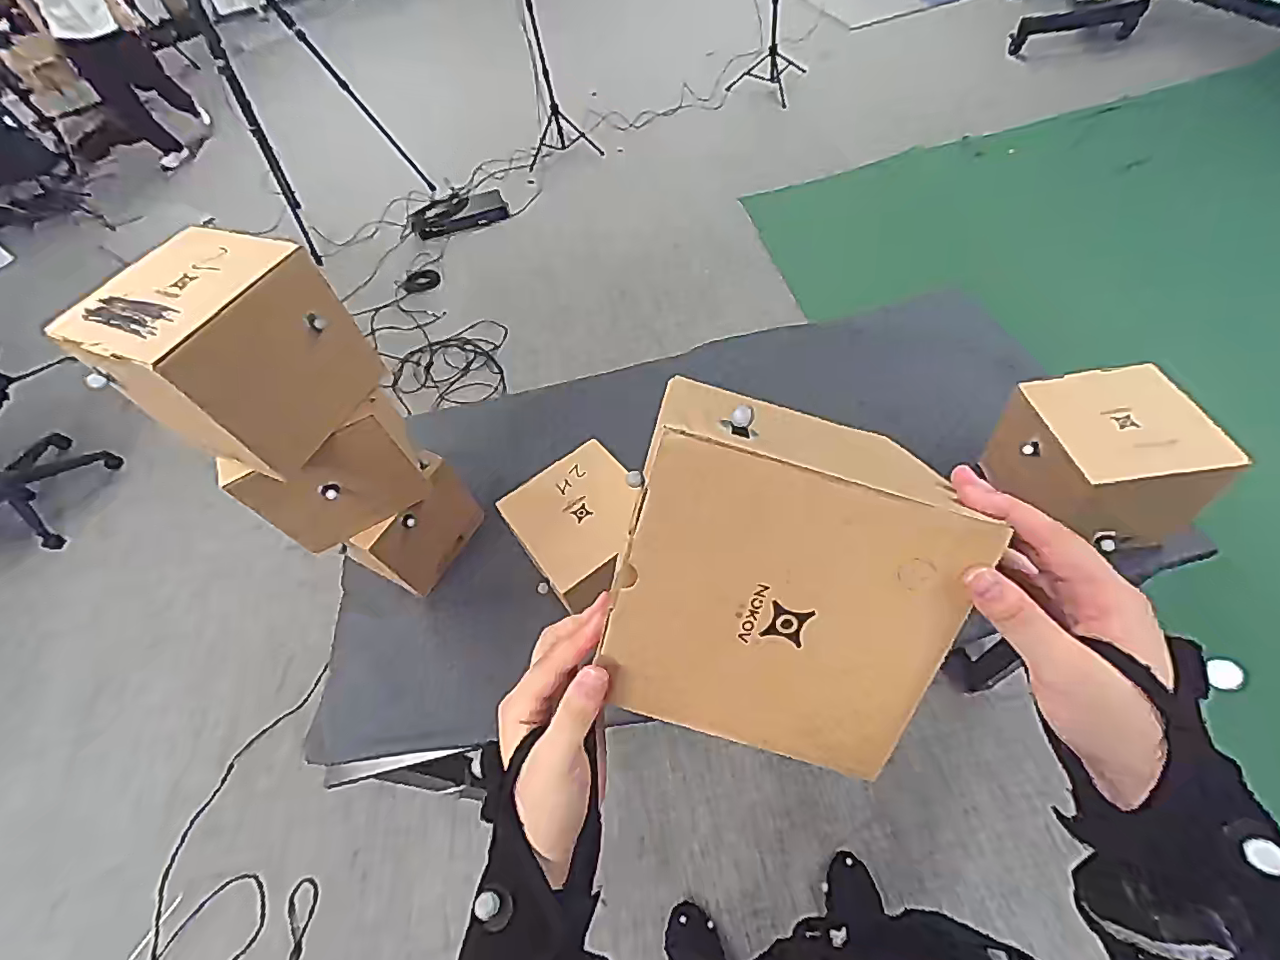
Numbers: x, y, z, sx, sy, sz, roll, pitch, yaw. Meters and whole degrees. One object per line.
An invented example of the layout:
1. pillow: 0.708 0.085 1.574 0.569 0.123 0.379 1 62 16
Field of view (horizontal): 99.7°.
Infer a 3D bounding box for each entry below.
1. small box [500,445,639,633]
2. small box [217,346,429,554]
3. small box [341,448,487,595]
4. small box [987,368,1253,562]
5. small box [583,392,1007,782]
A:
1. small box: -0.062 0.091 0.759 0.168 0.176 0.179 -35 56 -15
2. small box: -0.401 -0.035 0.710 0.179 0.176 0.168 -30 56 -10
3. small box: -0.377 0.055 0.846 0.179 0.176 0.168 20 61 22
4. small box: 0.590 -0.016 0.703 0.168 0.176 0.179 -9 51 7
5. small box: 0.078 0.050 0.355 0.179 0.168 0.176 16 20 1
